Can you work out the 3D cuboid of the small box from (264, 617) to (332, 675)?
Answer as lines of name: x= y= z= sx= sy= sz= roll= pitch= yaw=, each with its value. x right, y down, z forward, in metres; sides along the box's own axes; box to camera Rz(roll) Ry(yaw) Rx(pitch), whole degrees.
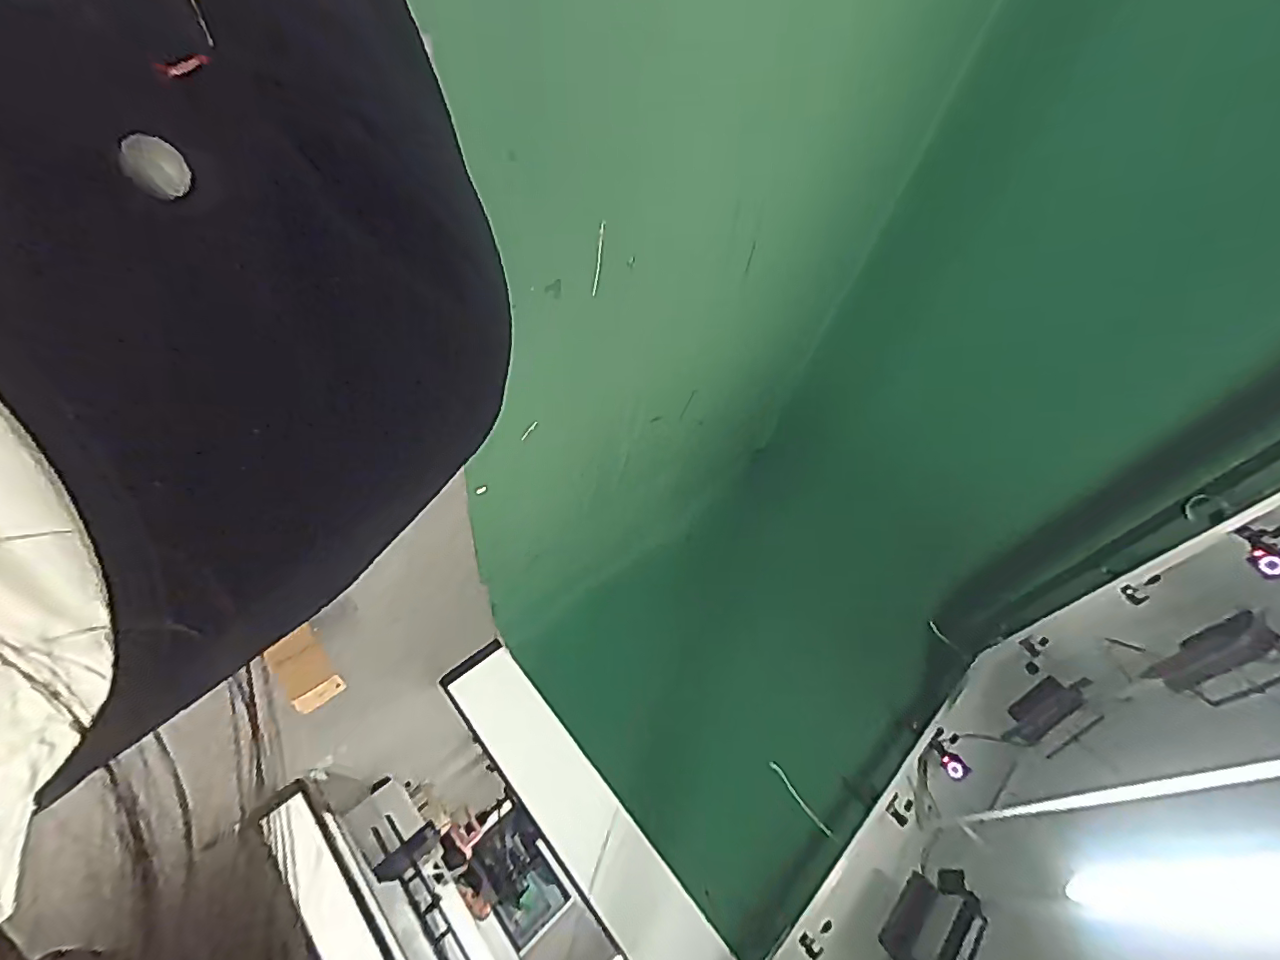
small box: x=-1.431 y=0.708 z=2.257 sx=0.179 sy=0.176 sz=0.168 roll=-35 pitch=156 yaw=-31

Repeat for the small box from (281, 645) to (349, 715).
small box: x=-1.320 y=0.806 z=2.189 sx=0.179 sy=0.176 sz=0.168 roll=-32 pitch=154 yaw=-31
